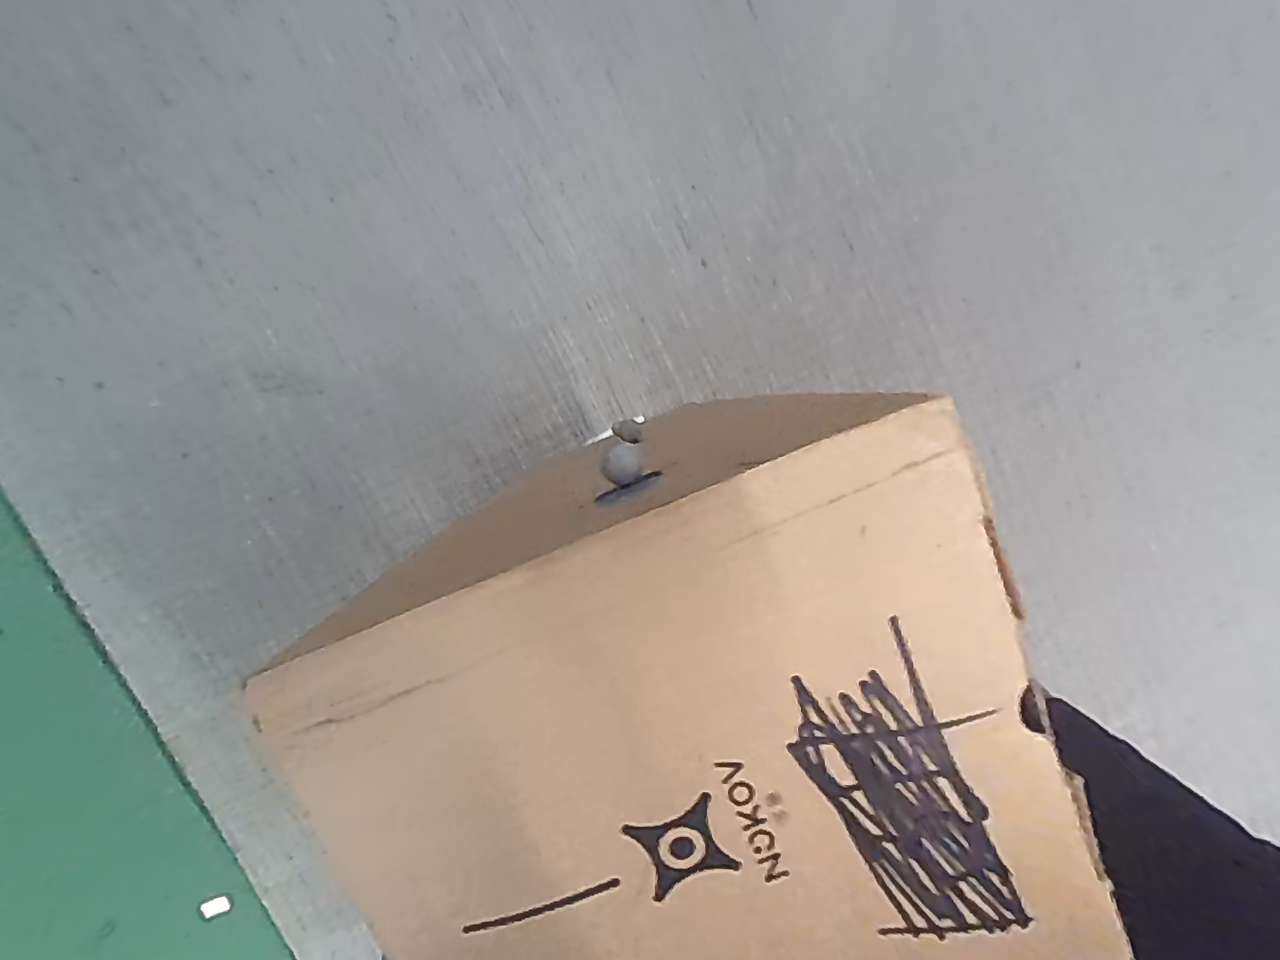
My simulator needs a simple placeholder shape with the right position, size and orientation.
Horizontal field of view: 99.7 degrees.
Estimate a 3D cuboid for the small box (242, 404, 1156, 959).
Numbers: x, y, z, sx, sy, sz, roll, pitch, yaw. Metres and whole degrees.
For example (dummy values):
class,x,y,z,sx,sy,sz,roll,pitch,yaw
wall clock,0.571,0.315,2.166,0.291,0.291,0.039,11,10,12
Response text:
class,x,y,z,sx,sy,sz,roll,pitch,yaw
small box,0.020,0.075,0.205,0.179,0.176,0.168,-22,98,3
